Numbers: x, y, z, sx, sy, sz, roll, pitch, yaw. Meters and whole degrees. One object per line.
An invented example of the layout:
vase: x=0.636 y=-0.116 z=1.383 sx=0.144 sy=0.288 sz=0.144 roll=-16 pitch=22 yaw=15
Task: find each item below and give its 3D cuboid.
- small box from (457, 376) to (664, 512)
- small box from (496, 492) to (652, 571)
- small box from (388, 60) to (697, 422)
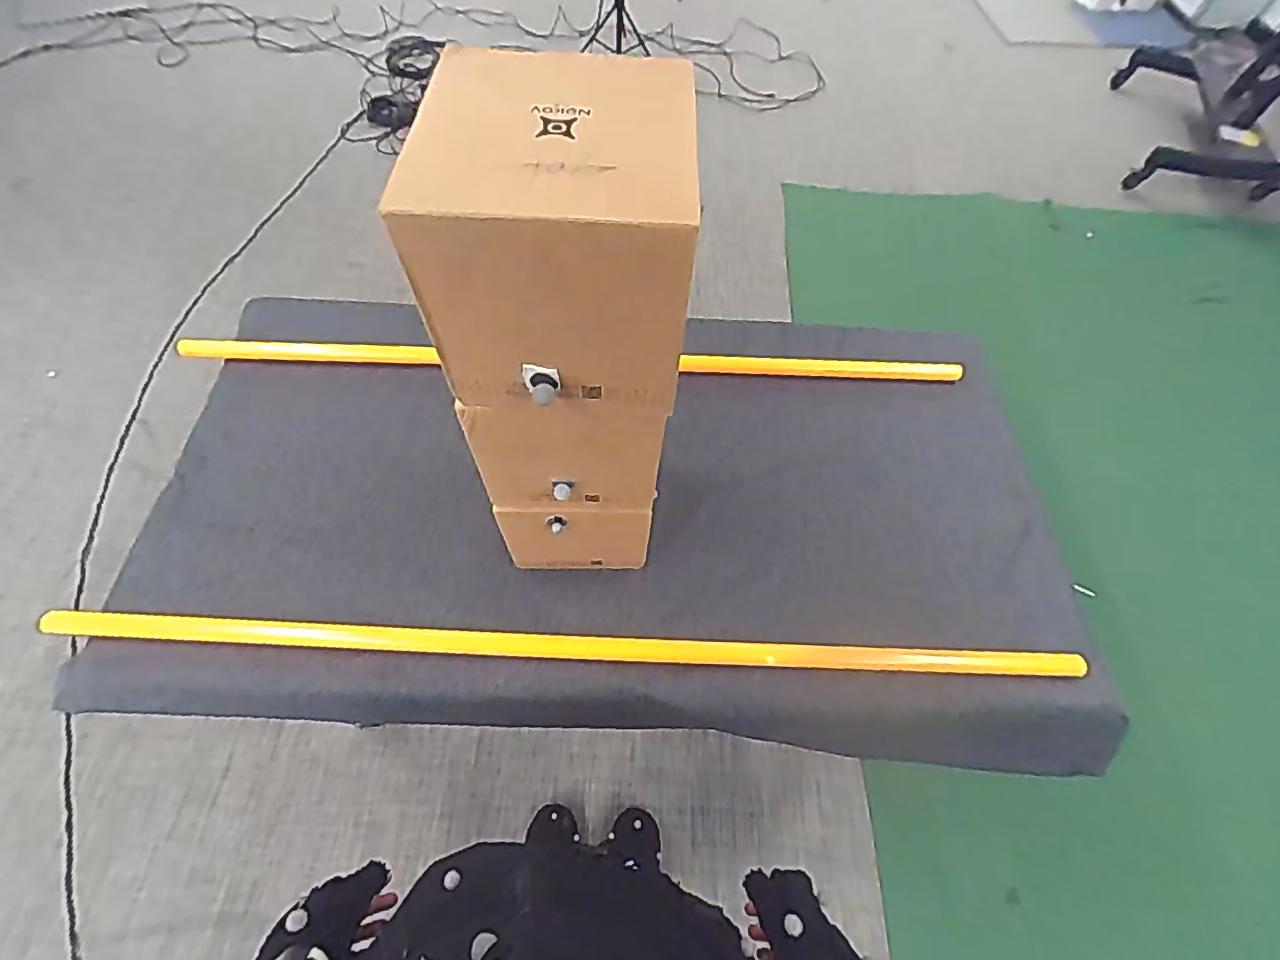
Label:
small box: x=-0.065 y=-0.085 z=0.533 sx=0.168 sy=0.176 sz=0.179 roll=2 pitch=61 yaw=-2
small box: x=-0.073 y=0.000 z=0.673 sx=0.168 sy=0.176 sz=0.179 roll=0 pitch=60 yaw=-2
small box: x=-0.052 y=-0.163 z=0.392 sx=0.168 sy=0.176 sz=0.179 roll=1 pitch=61 yaw=-1
